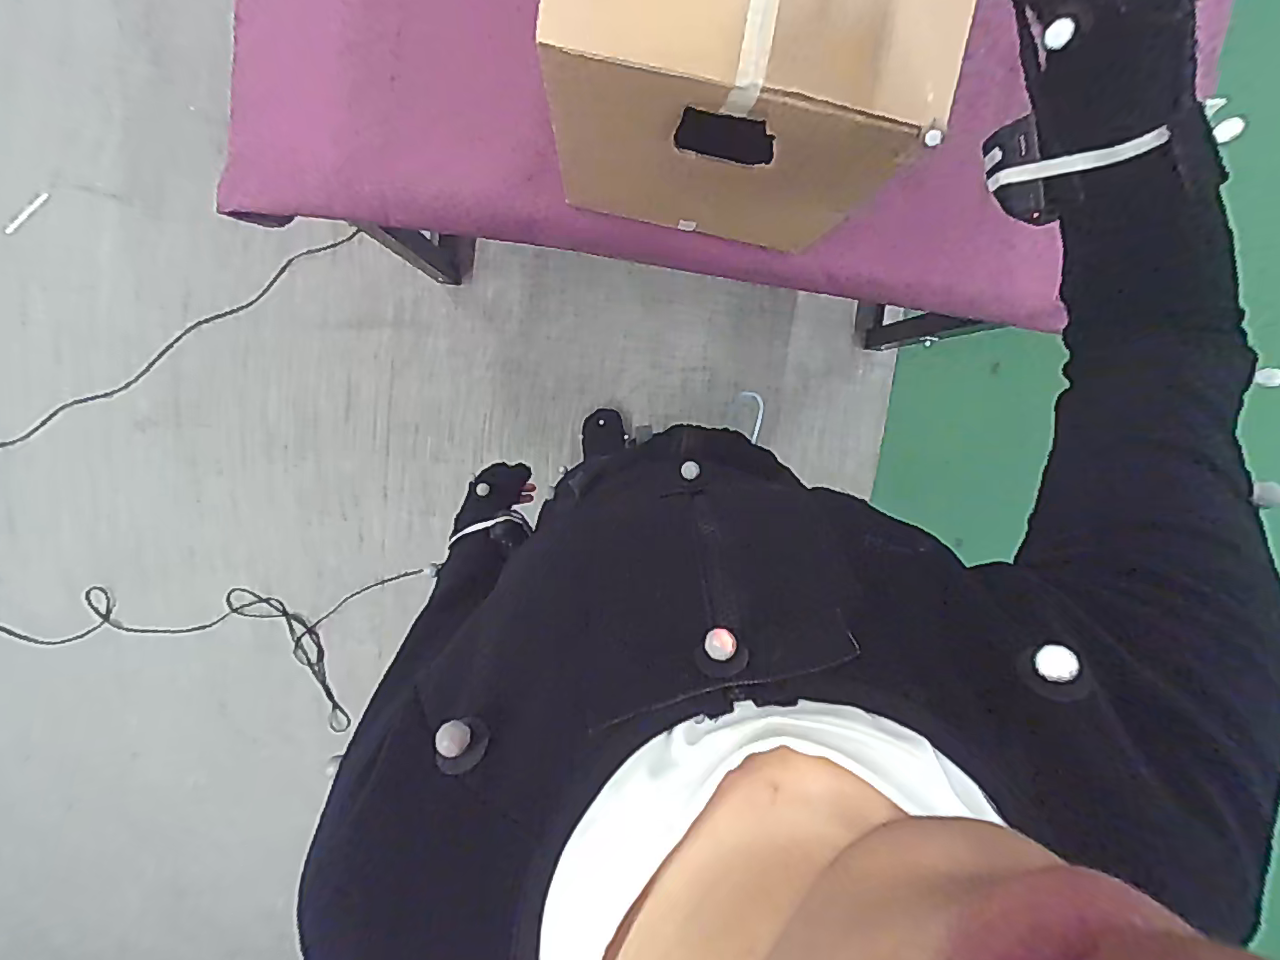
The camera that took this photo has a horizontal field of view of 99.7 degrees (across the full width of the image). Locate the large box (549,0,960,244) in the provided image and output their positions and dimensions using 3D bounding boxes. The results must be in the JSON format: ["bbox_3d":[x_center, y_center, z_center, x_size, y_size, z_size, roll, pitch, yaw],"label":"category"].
[{"bbox_3d":[0.102,-0.508,0.538,0.320,0.320,0.408,10,98,-4],"label":"large box"}]
